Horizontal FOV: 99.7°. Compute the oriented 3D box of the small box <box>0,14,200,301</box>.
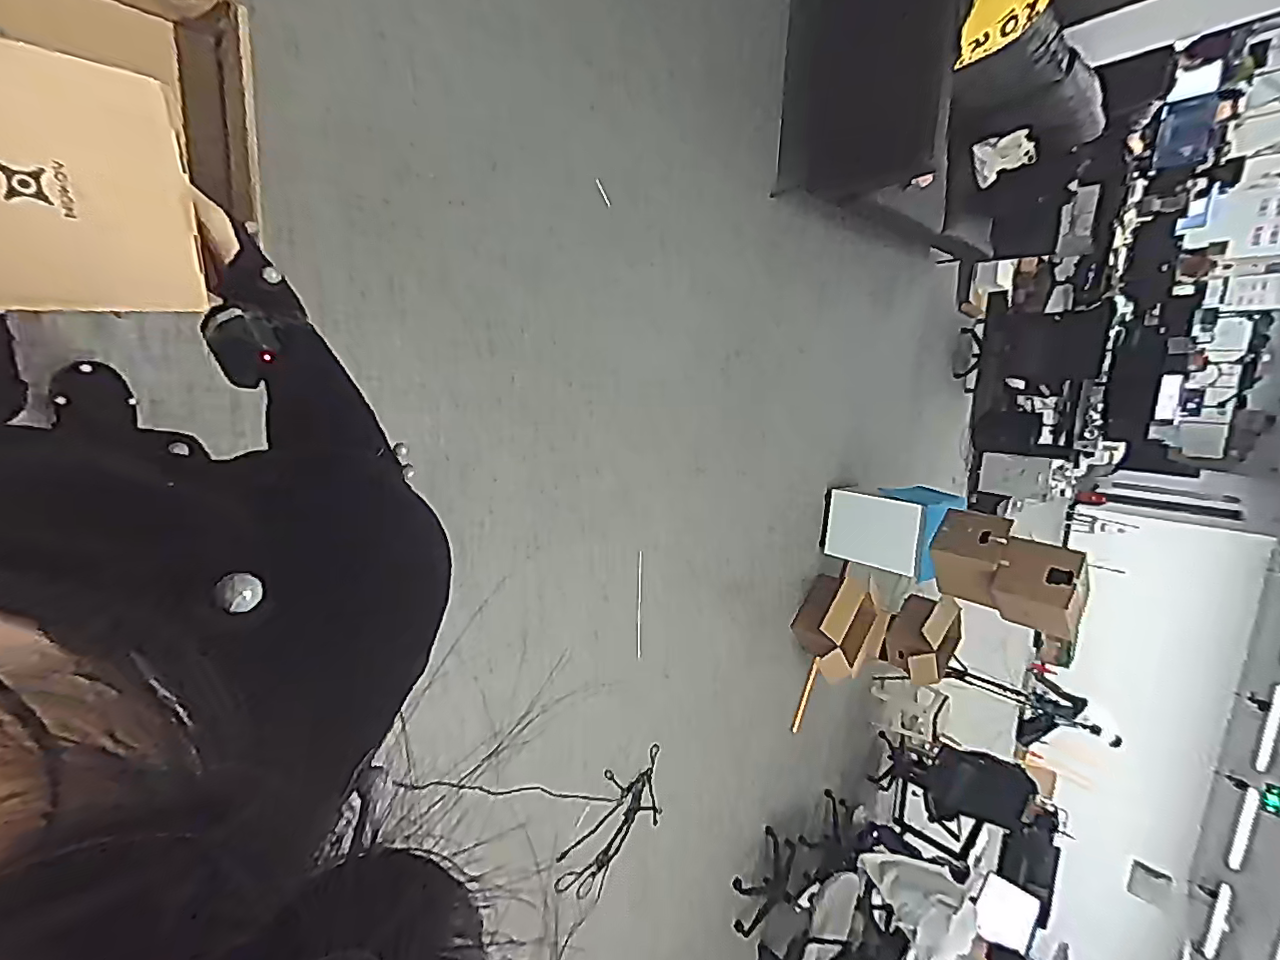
[{"bbox_3d":[-0.464,-0.231,0.391,0.179,0.176,0.168,-19,123,-50],"label":"small box"}]
